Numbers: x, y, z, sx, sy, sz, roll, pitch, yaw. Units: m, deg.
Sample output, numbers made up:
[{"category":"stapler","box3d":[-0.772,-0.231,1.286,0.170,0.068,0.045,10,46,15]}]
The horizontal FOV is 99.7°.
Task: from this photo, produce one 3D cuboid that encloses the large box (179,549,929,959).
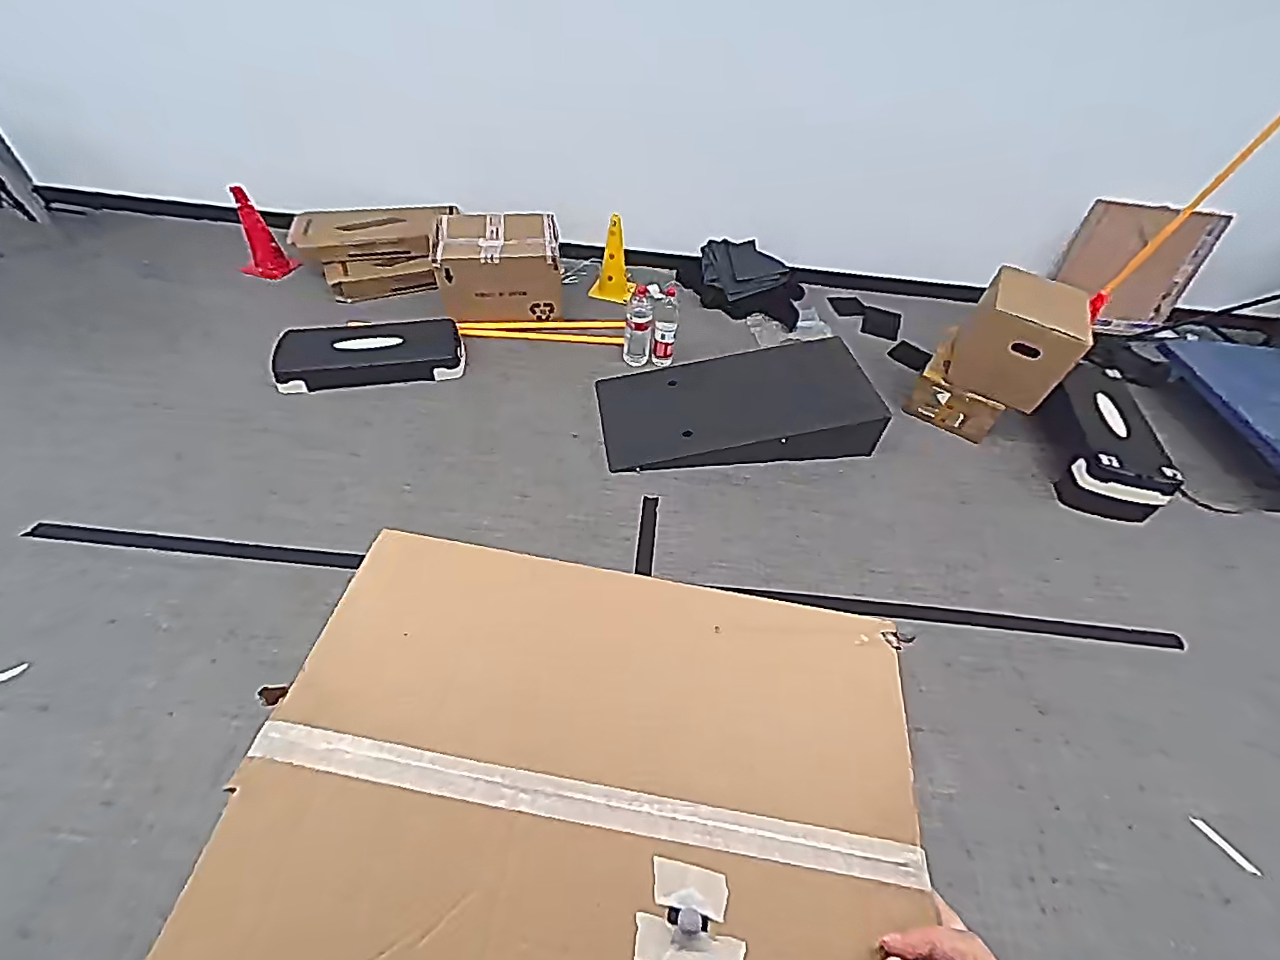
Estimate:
[{"category":"large box","box3d":[-0.040,0.294,0.450,0.408,0.320,0.320,10,53,2]}]
